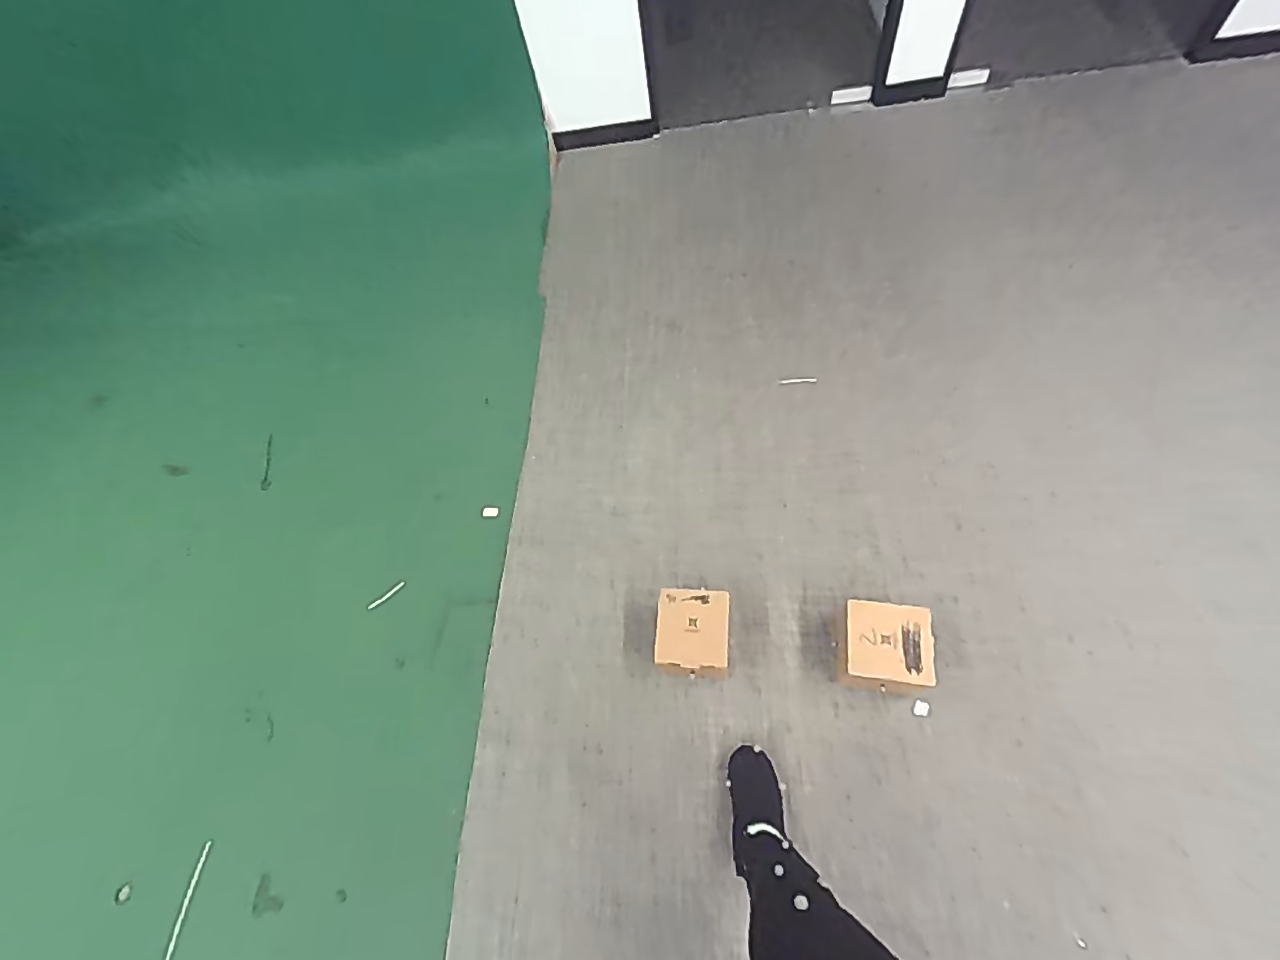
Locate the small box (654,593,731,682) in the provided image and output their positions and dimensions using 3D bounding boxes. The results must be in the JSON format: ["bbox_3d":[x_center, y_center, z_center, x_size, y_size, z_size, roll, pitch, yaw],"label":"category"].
[{"bbox_3d":[0.133,0.386,1.311,0.168,0.176,0.179,2,63,10],"label":"small box"}]
